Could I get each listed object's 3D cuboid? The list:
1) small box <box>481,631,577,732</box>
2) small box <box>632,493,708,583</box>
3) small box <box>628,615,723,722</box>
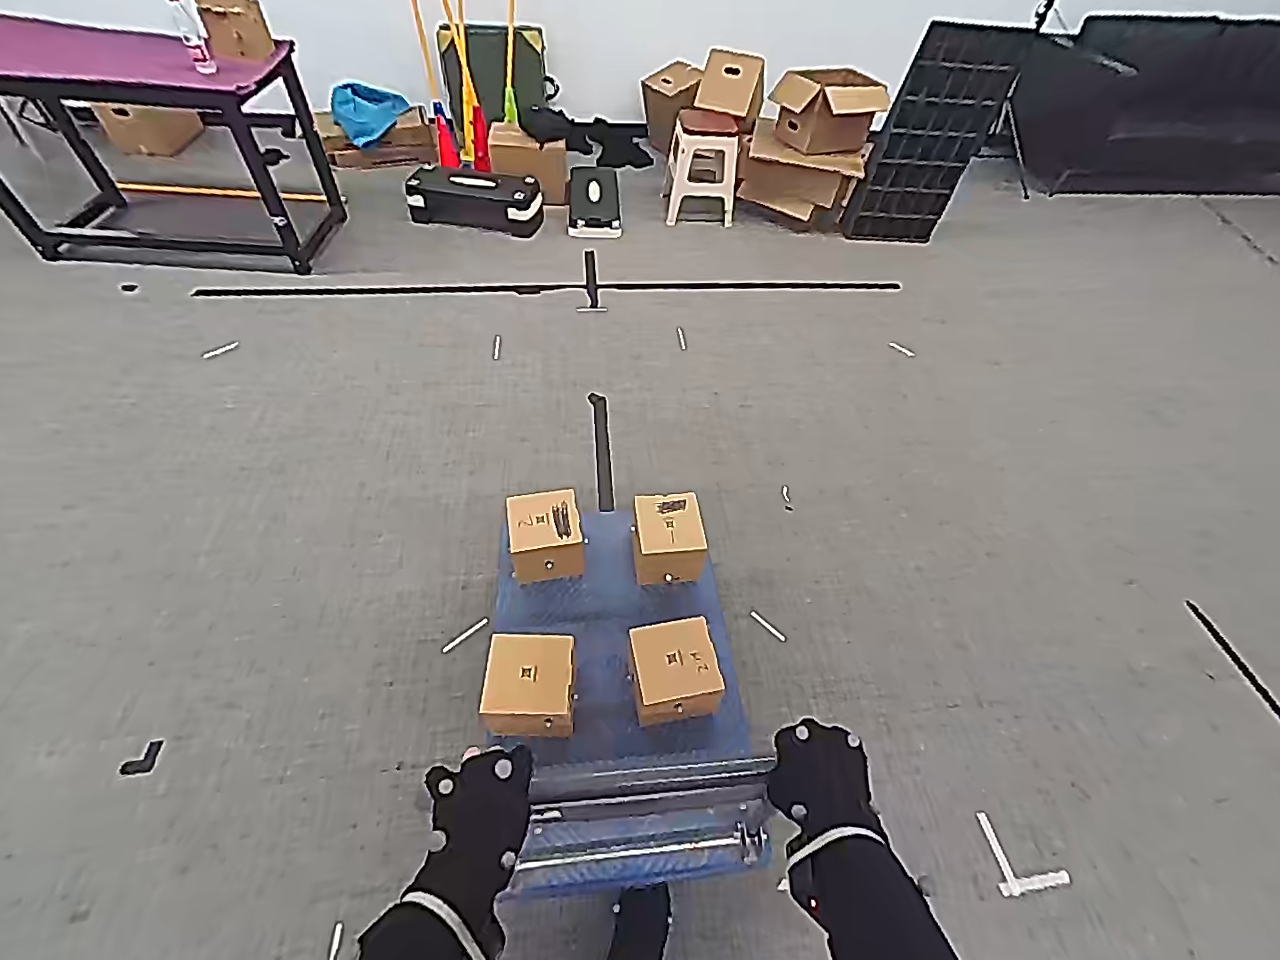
[{"bbox_3d":[-0.234,0.444,1.183,0.179,0.176,0.168,3,51,-4],"label":"small box"},{"bbox_3d":[0.072,0.155,1.434,0.168,0.176,0.179,-3,53,-7],"label":"small box"},{"bbox_3d":[0.071,0.427,1.216,0.179,0.176,0.168,-7,52,-9],"label":"small box"}]
